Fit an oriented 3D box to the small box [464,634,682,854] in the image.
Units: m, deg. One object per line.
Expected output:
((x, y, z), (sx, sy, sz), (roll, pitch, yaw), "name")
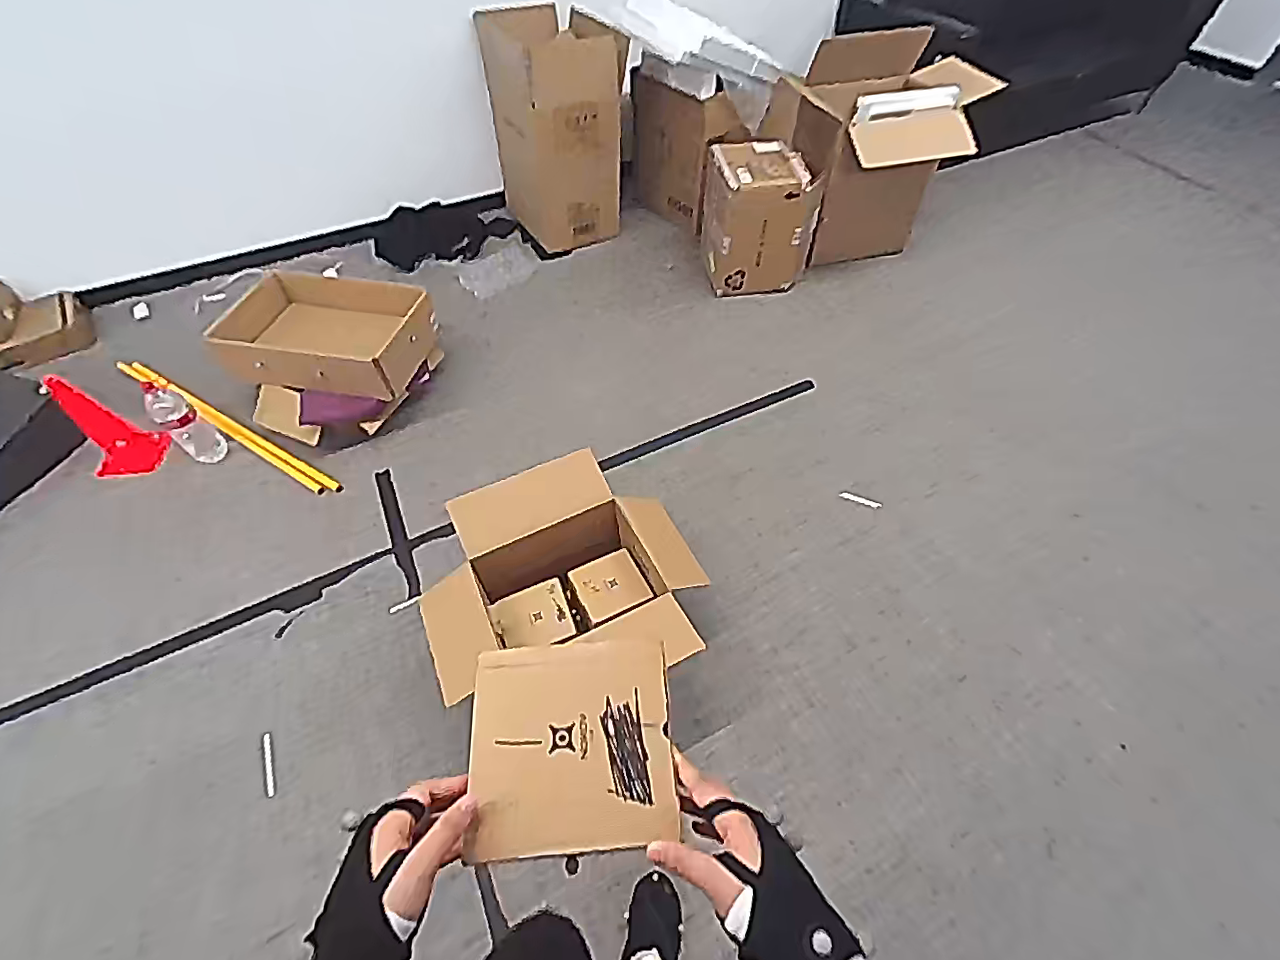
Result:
((-0.059, 0.262, 0.538), (0.179, 0.176, 0.168), (-5, 57, -2), "small box")
